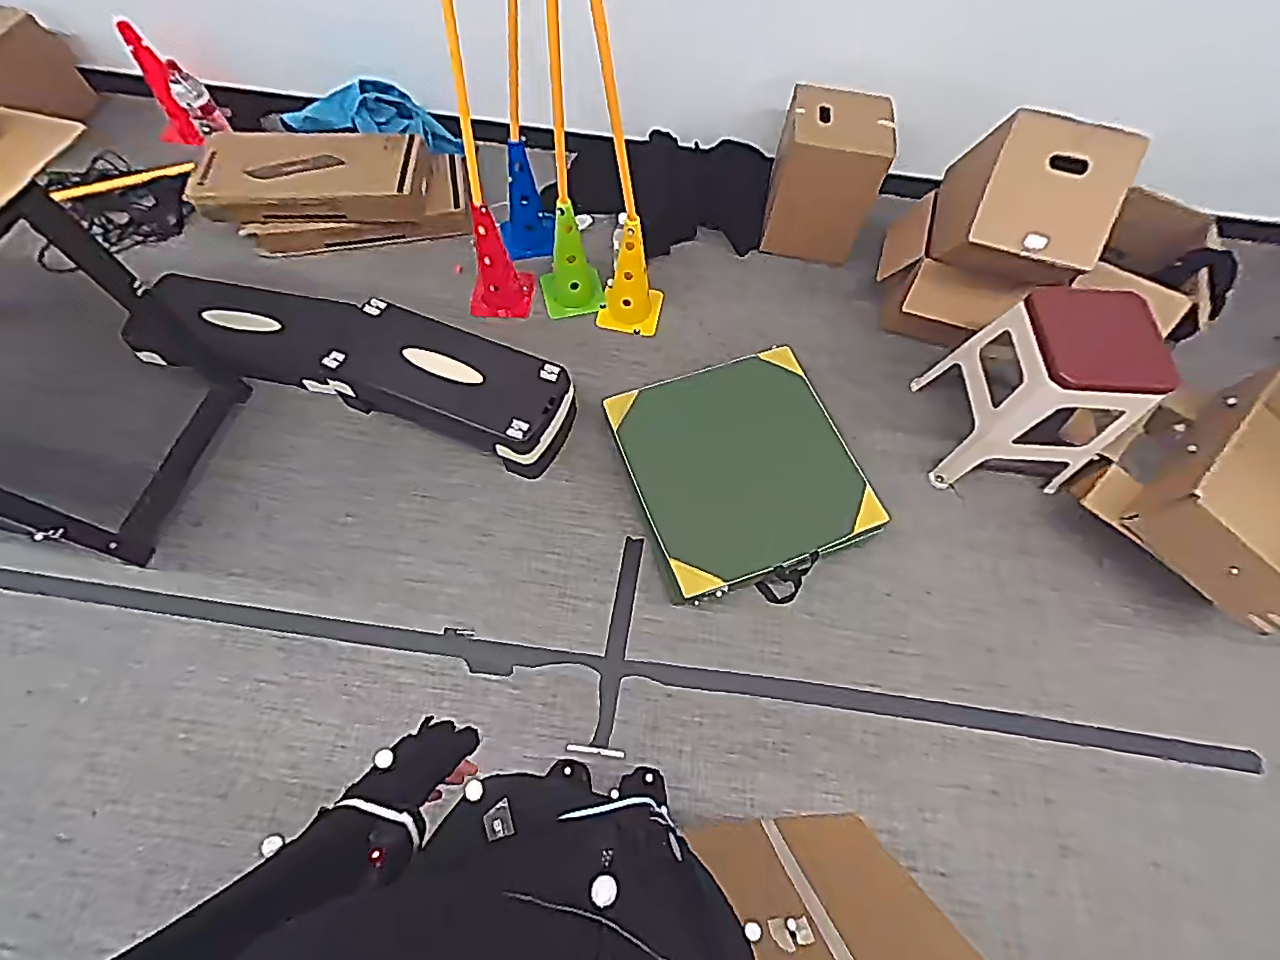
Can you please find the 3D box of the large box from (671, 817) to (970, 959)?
[{"bbox_3d":[0.226,0.715,0.709,0.320,0.408,0.320,-4,85,-4],"label":"large box"}]
